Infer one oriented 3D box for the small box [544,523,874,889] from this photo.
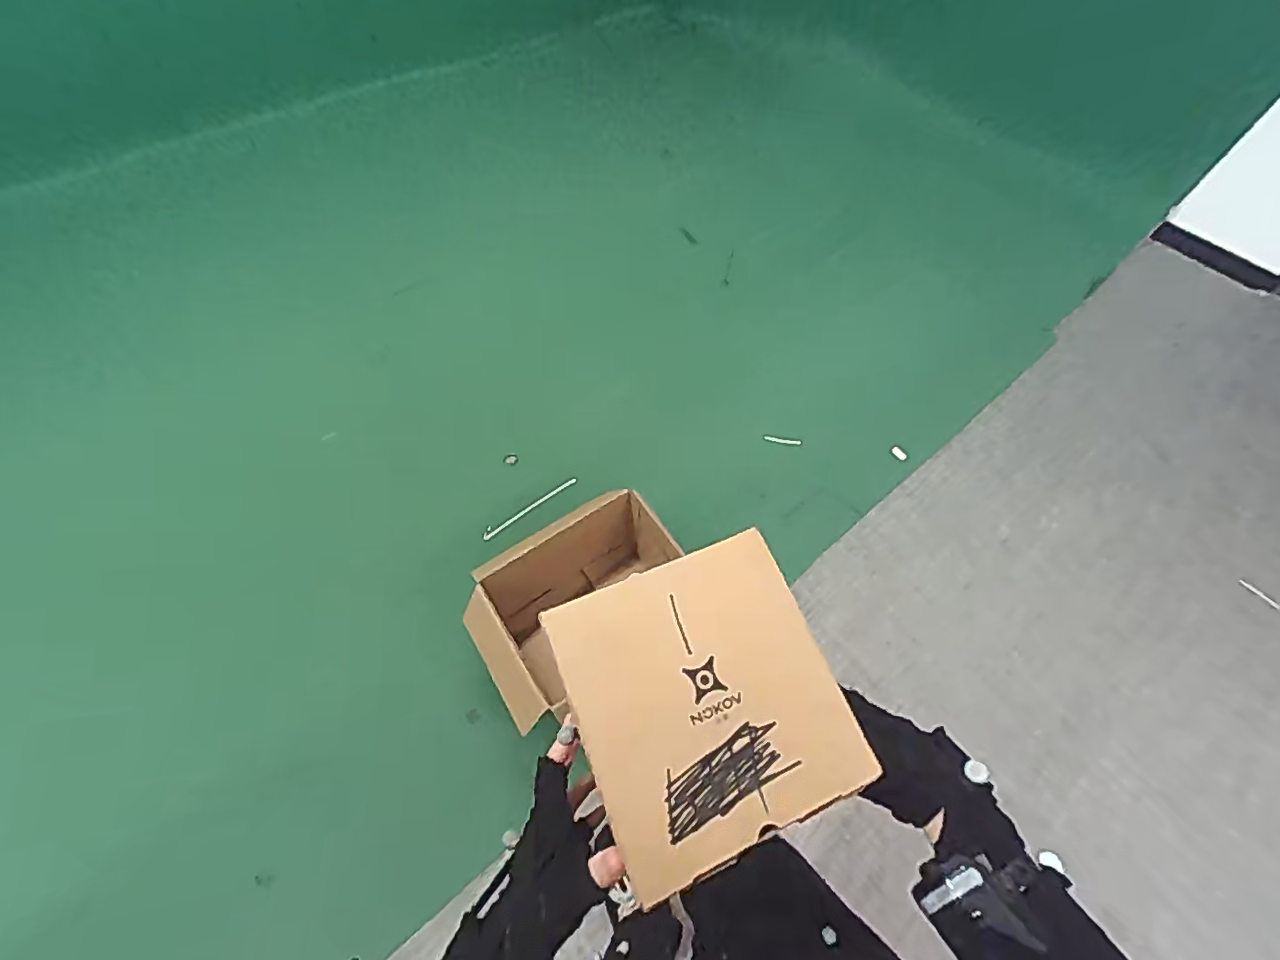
[{"bbox_3d":[0.034,0.159,0.419,0.168,0.176,0.179,-19,71,-15],"label":"small box"}]
